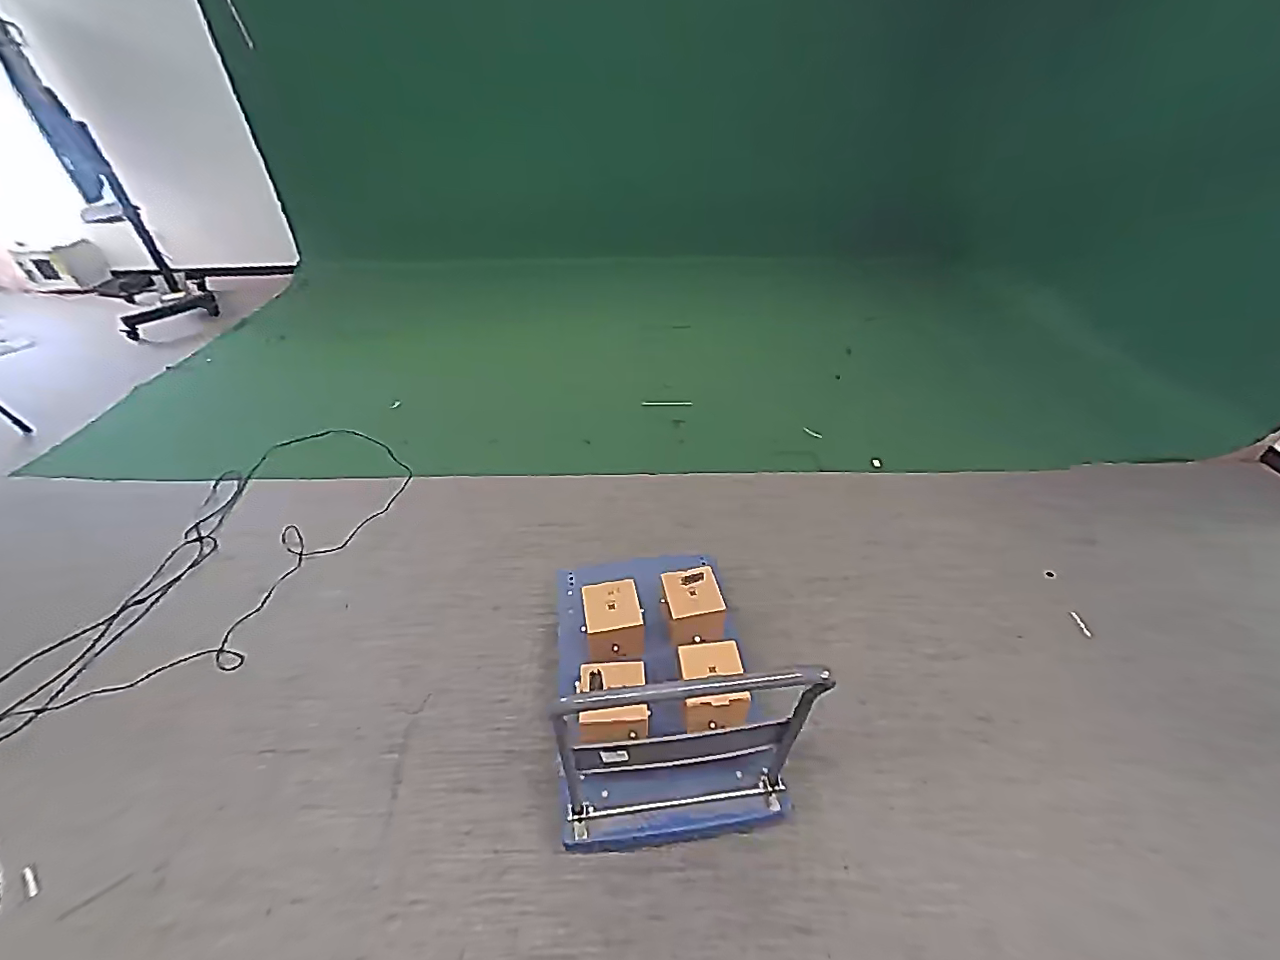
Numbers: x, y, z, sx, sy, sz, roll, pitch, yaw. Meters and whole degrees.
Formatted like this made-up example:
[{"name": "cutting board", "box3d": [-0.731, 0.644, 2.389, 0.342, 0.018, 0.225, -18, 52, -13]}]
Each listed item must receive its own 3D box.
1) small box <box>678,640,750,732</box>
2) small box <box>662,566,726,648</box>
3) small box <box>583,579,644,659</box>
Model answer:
[{"name": "small box", "box3d": [0.200, 0.577, 1.518, 0.168, 0.176, 0.179, -5, 40, -4]}, {"name": "small box", "box3d": [0.166, 0.405, 1.723, 0.168, 0.176, 0.179, -8, 41, -7]}, {"name": "small box", "box3d": [-0.081, 0.441, 1.690, 0.168, 0.176, 0.179, -7, 40, -8]}]
